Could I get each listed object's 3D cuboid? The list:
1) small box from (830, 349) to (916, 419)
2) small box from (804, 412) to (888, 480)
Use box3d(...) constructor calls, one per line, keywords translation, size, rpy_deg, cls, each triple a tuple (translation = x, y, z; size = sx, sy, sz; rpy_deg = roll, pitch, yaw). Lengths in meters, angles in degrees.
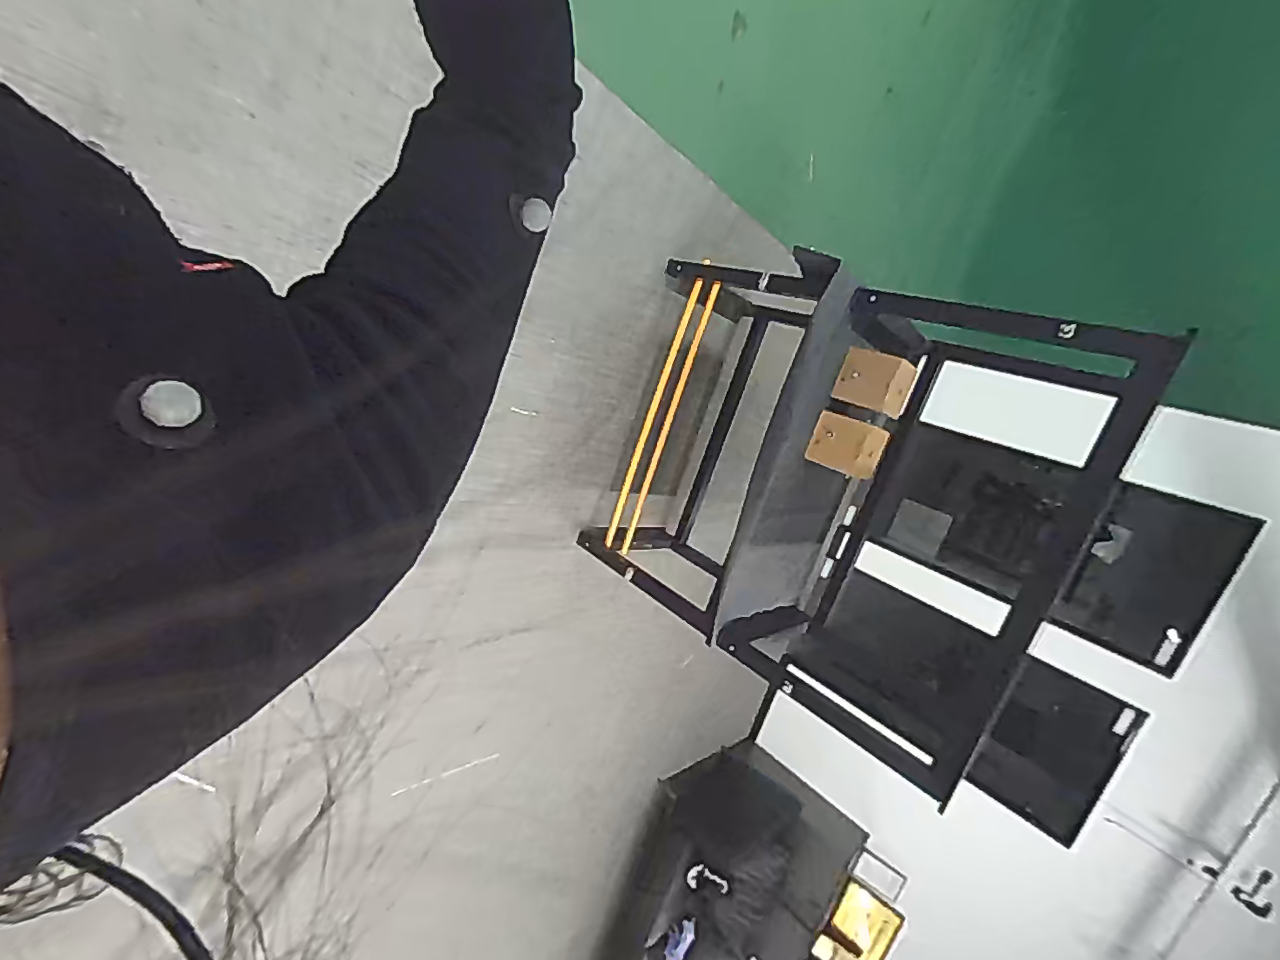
box3d(translation=(0.731, -0.303, 1.701), size=(0.179, 0.176, 0.168), rpy_deg=(5, 107, -49), cls="small box")
box3d(translation=(0.659, -0.111, 1.737), size=(0.179, 0.176, 0.168), rpy_deg=(6, 107, -49), cls="small box")
